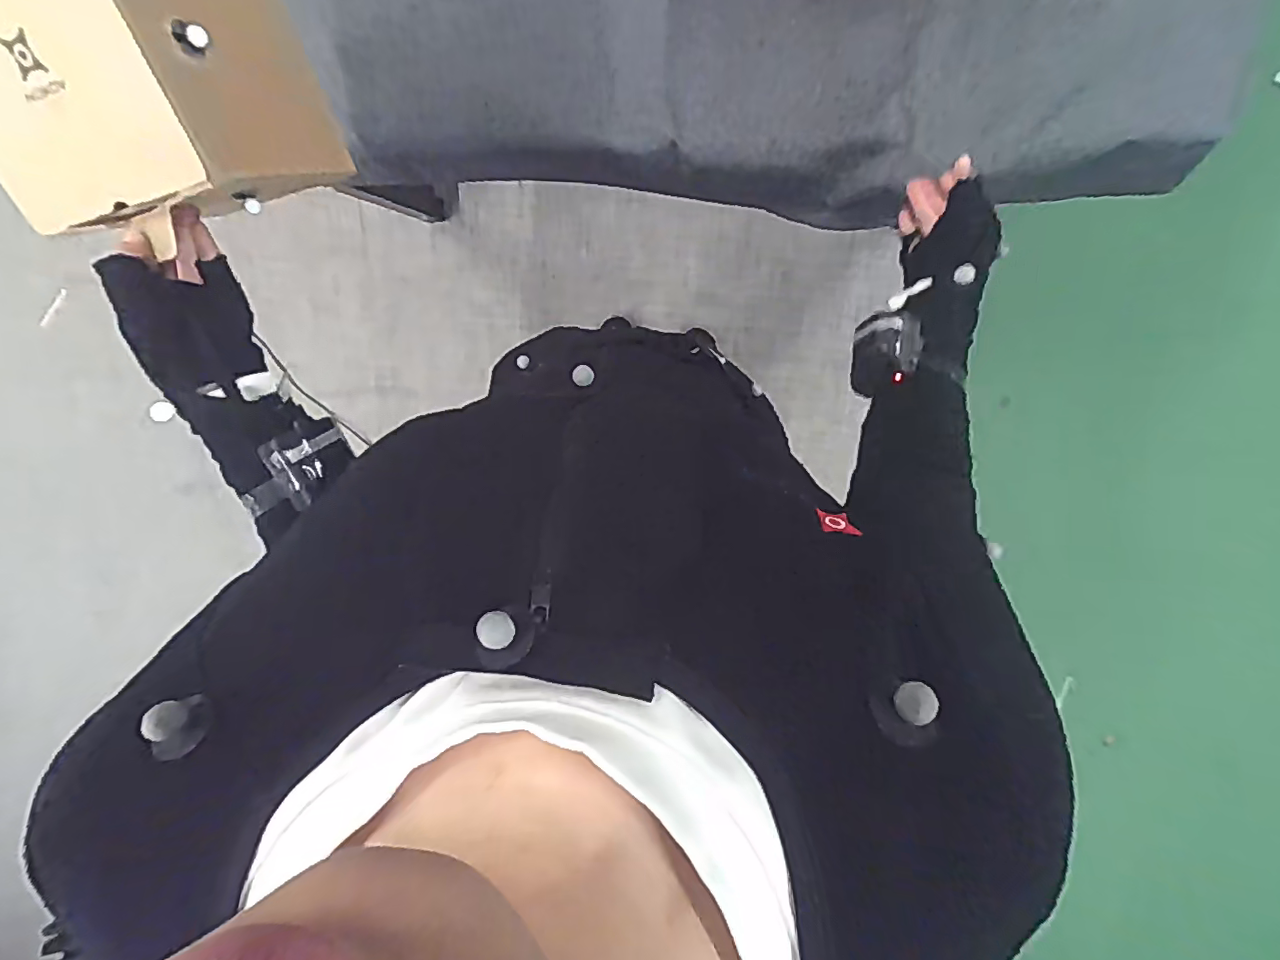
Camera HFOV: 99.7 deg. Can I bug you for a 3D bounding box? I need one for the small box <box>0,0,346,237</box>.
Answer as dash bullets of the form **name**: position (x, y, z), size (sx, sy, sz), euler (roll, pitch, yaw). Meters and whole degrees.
- **small box**: position (-0.363, -0.299, 0.398), size (0.168, 0.176, 0.179), euler (-8, 119, 14)
